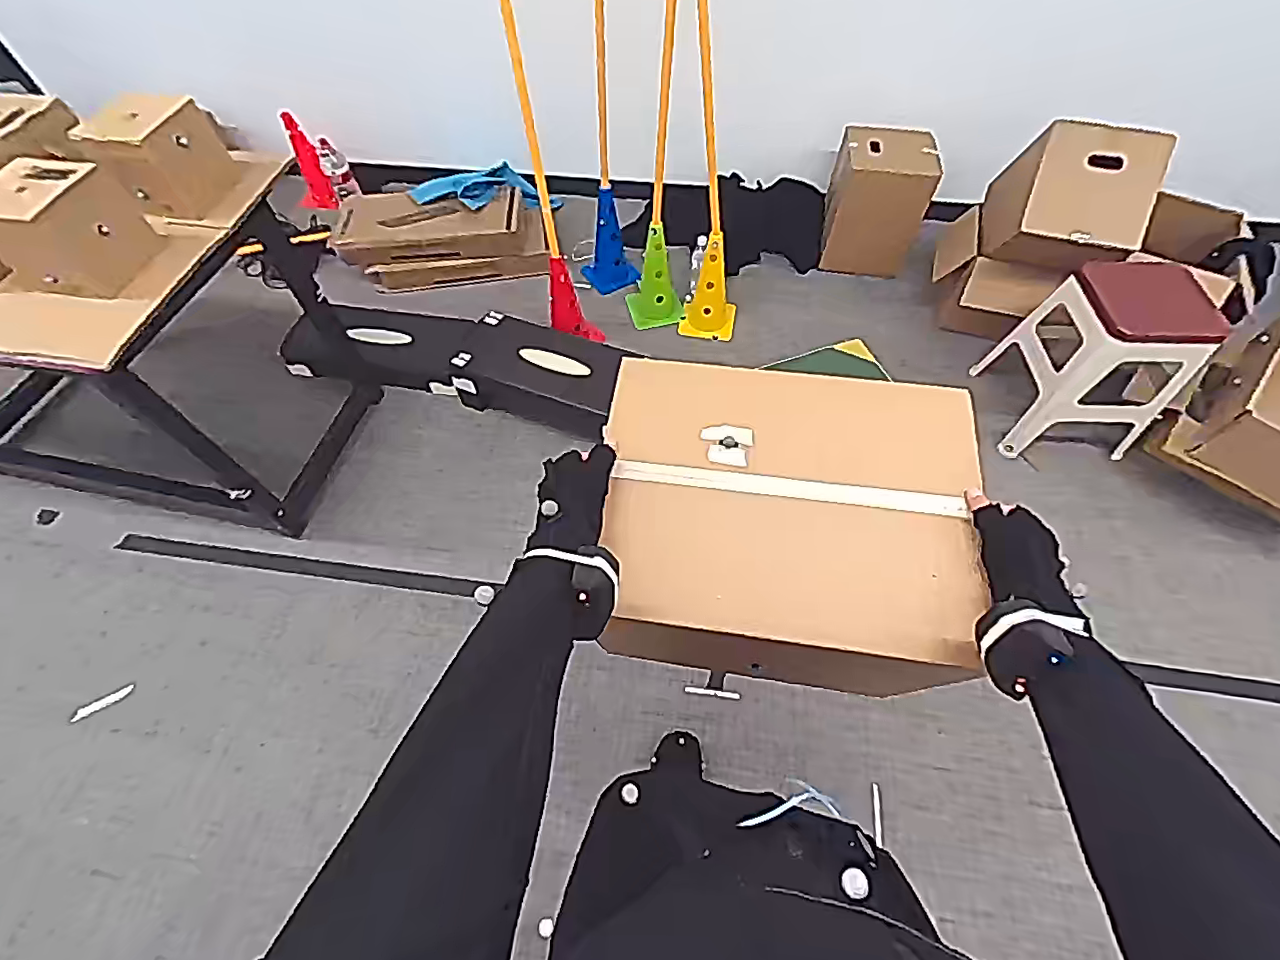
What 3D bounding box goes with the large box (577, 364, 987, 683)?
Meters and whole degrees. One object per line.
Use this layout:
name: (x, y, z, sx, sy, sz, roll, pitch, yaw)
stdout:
large box: (0.164, 0.074, 0.724, 0.408, 0.320, 0.320, 7, 64, 8)
